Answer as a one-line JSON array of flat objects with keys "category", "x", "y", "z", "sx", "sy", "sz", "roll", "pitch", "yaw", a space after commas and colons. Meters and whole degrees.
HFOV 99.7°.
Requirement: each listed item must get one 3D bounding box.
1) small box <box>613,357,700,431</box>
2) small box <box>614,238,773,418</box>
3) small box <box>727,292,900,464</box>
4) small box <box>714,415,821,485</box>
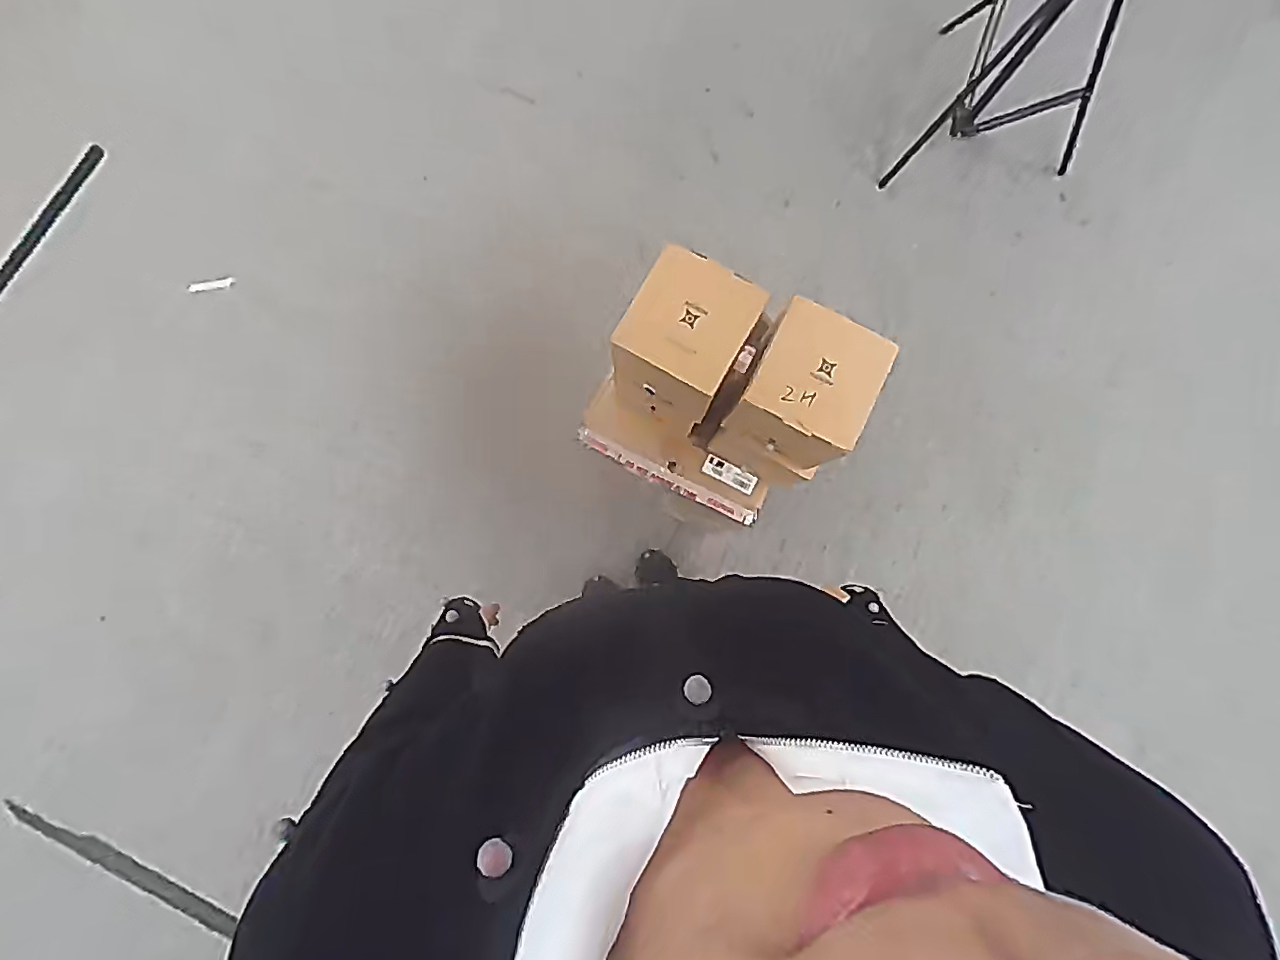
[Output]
[{"category": "small box", "x": 0.068, "y": -0.210, "z": 0.987, "sx": 0.168, "sy": 0.176, "sz": 0.179, "roll": 29, "pitch": 85, "yaw": 4}, {"category": "small box", "x": 0.074, "y": -0.219, "z": 0.823, "sx": 0.168, "sy": 0.176, "sz": 0.179, "roll": 29, "pitch": 85, "yaw": 5}, {"category": "small box", "x": 0.249, "y": -0.143, "z": 0.819, "sx": 0.168, "sy": 0.176, "sz": 0.179, "roll": 27, "pitch": 84, "yaw": 0}, {"category": "small box", "x": 0.250, "y": -0.107, "z": 0.981, "sx": 0.168, "sy": 0.176, "sz": 0.179, "roll": 29, "pitch": 84, "yaw": 1}]
